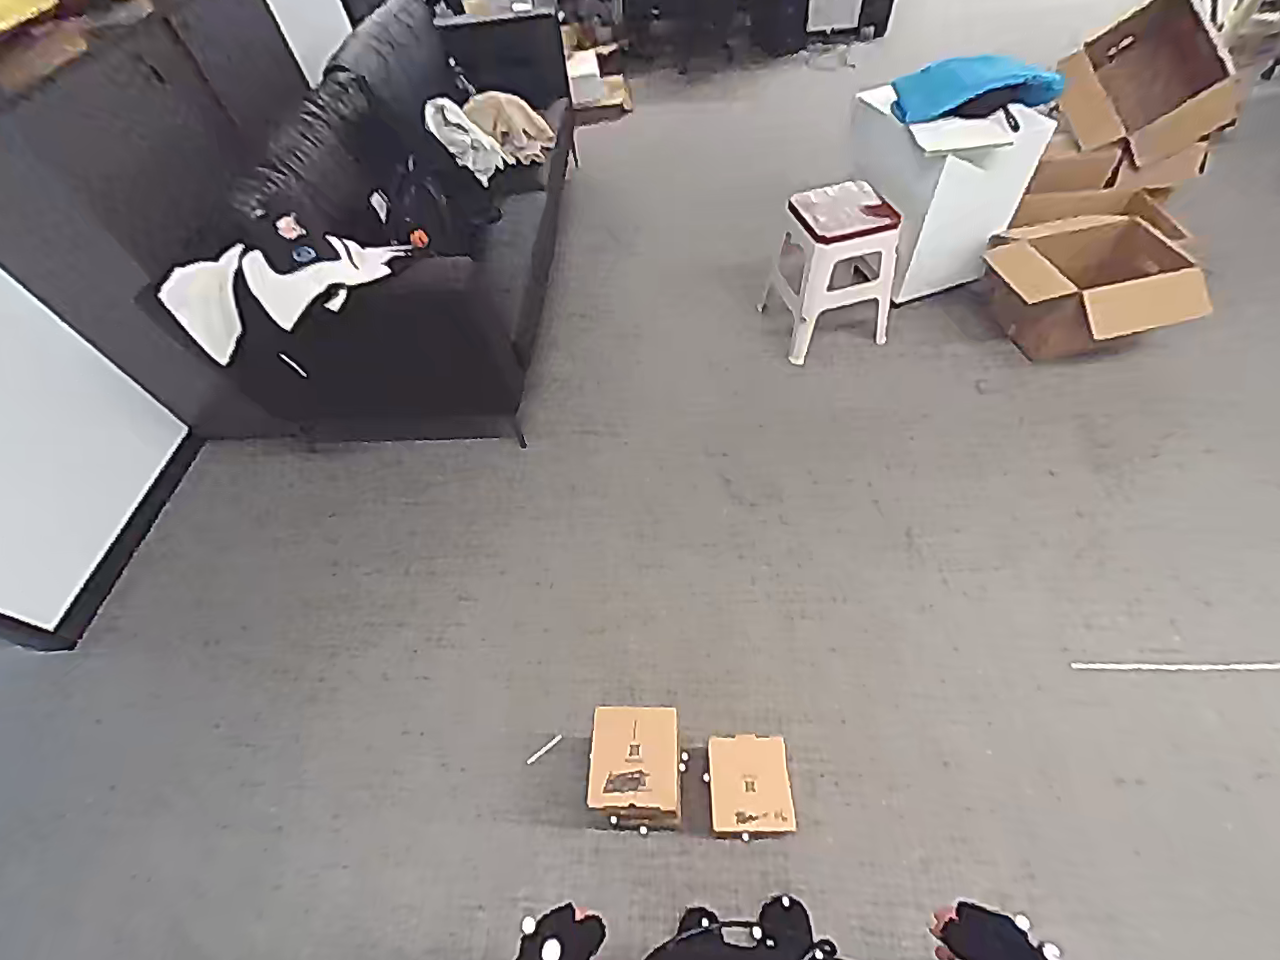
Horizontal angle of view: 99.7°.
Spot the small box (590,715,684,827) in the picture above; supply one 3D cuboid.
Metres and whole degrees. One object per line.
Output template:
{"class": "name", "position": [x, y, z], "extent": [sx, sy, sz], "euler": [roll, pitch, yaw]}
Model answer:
{"class": "small box", "position": [0.002, 0.580, 1.075], "extent": [0.168, 0.176, 0.179], "euler": [-2, 53, 6]}
